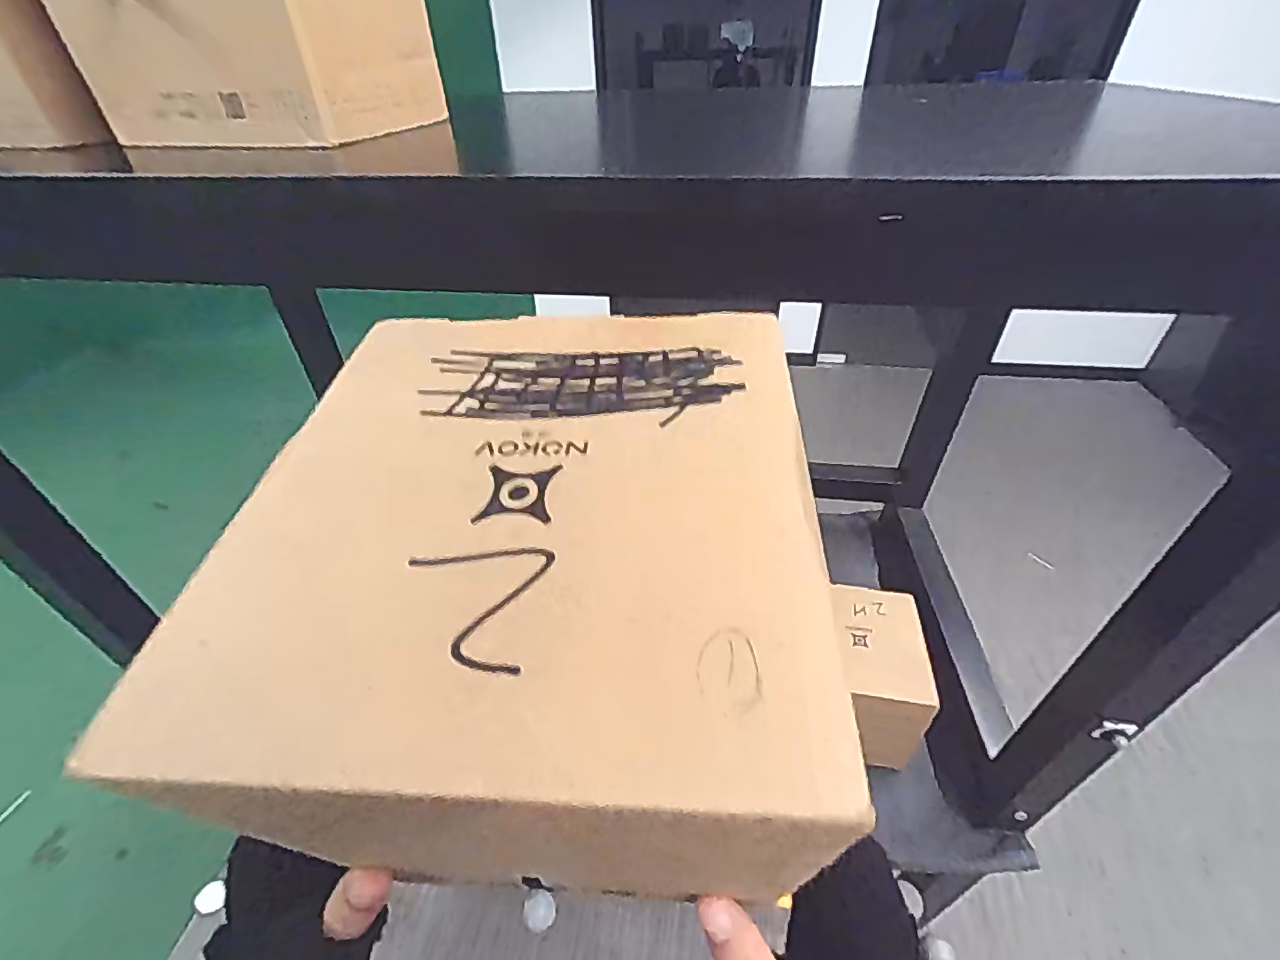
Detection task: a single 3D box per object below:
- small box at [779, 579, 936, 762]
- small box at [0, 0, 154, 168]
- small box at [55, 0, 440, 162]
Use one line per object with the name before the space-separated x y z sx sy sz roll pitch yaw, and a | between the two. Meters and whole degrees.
small box | 0.294 0.270 0.770 0.168 0.176 0.179 7 39 10
small box | -0.463 -0.347 0.405 0.168 0.176 0.179 5 40 8
small box | -0.268 -0.334 0.385 0.168 0.176 0.179 5 39 9
